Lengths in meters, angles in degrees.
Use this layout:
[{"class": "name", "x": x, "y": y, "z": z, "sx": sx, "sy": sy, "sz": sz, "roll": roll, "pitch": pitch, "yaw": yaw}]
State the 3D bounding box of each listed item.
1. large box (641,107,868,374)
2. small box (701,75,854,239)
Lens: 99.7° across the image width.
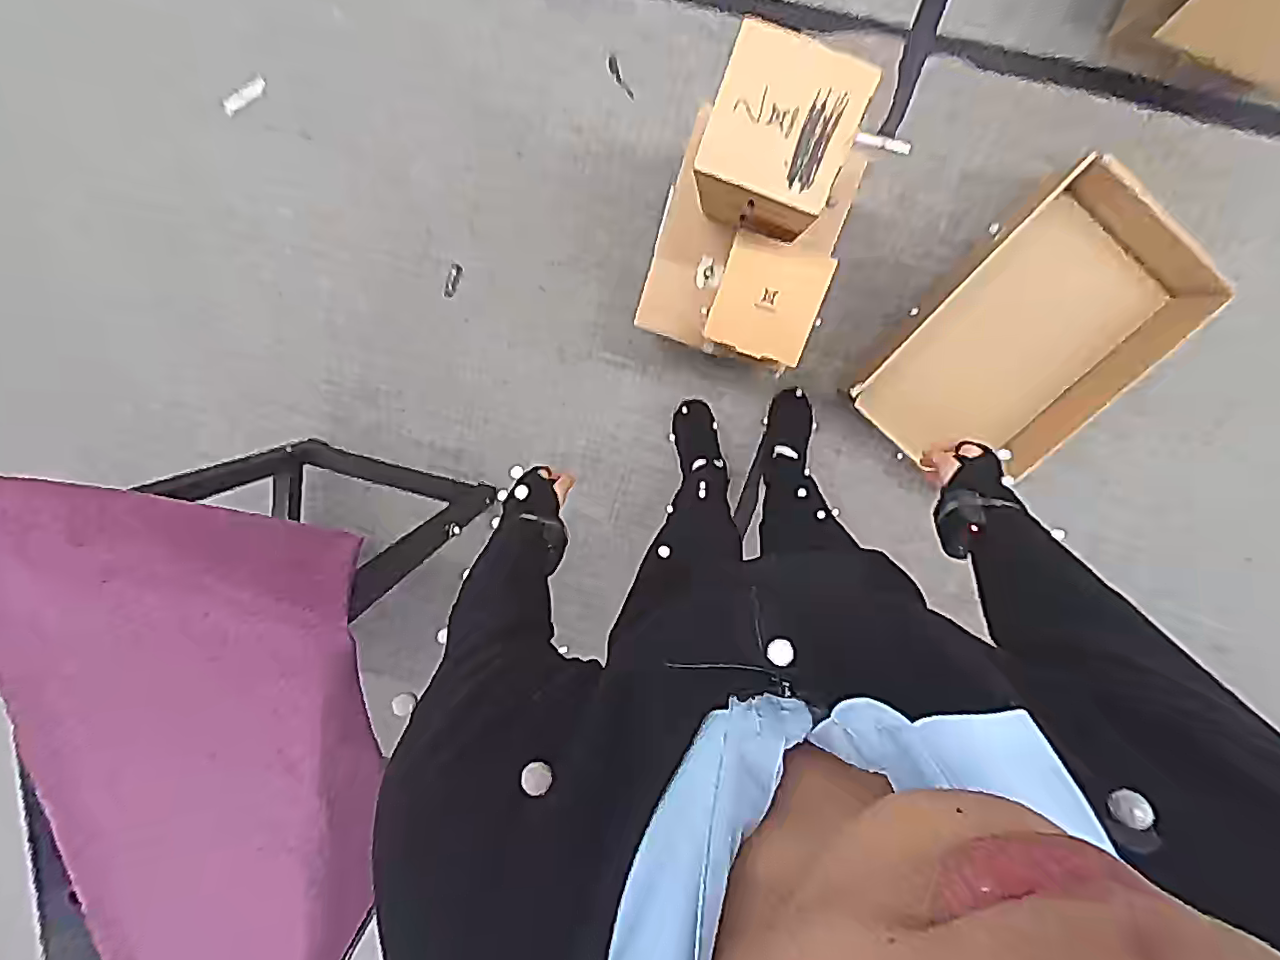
[{"class": "large box", "x": 0.220, "y": -0.477, "z": 1.144, "sx": 0.320, "sy": 0.320, "sz": 0.408, "roll": 19, "pitch": 109, "yaw": 3}, {"class": "small box", "x": 0.212, "y": -0.507, "z": 0.878, "sx": 0.179, "sy": 0.176, "sz": 0.168, "roll": 22, "pitch": 110, "yaw": 1}]
